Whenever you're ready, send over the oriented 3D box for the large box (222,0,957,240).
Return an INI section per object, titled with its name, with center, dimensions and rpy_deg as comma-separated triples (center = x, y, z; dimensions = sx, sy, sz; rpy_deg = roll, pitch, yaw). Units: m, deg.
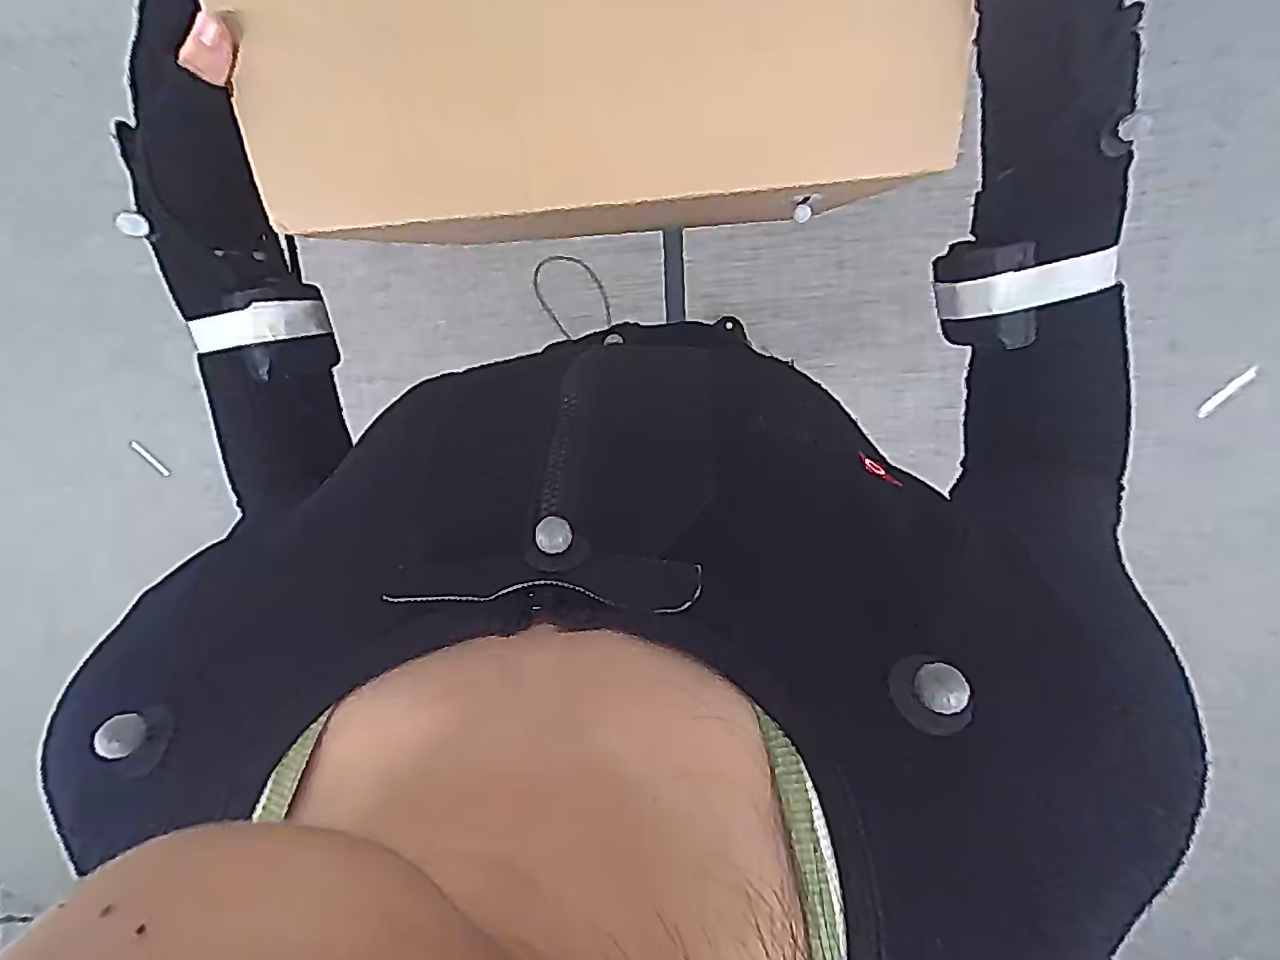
[large box]
center = -0.027, -0.367, 0.408
dimensions = 0.408, 0.320, 0.320
rpy_deg = -3, 112, 4
